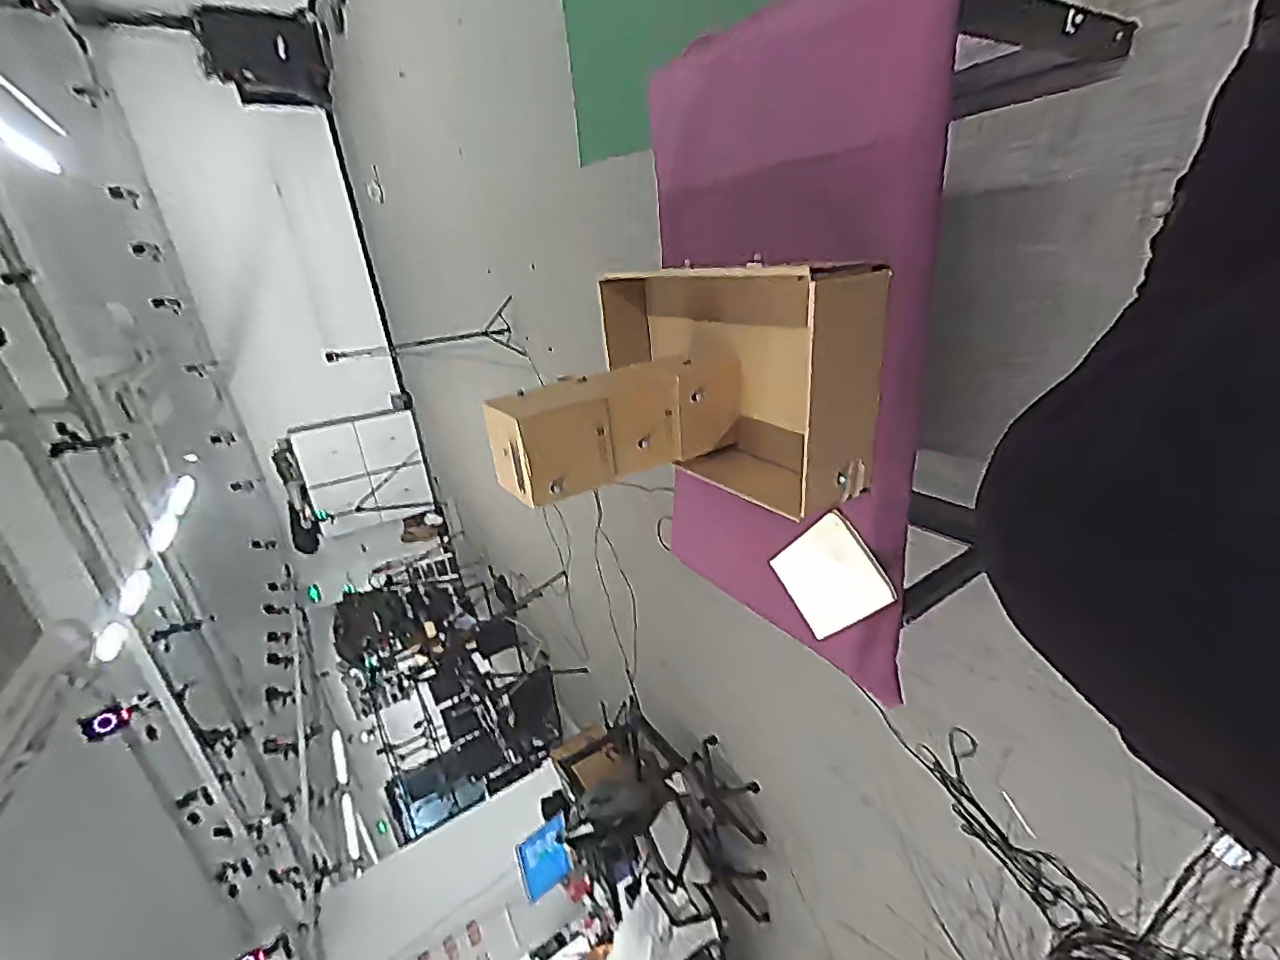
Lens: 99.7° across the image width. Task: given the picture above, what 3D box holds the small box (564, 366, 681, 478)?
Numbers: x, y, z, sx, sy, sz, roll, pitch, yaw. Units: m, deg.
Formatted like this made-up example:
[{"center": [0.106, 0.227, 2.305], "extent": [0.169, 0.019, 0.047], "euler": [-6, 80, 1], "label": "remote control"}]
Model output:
[{"center": [-0.028, -0.125, 1.082], "extent": [0.179, 0.176, 0.168], "euler": [28, 130, 50], "label": "small box"}]
